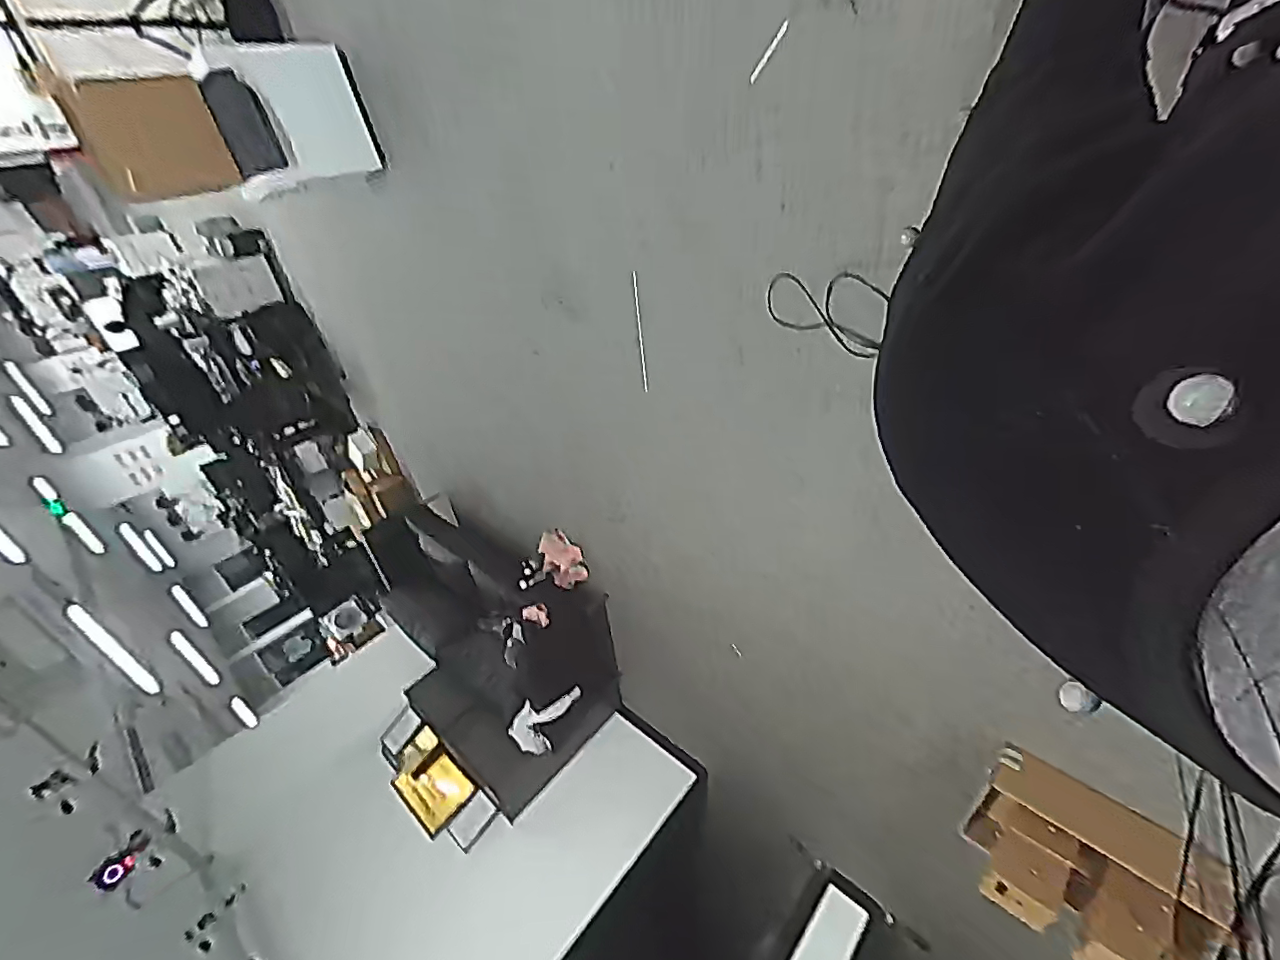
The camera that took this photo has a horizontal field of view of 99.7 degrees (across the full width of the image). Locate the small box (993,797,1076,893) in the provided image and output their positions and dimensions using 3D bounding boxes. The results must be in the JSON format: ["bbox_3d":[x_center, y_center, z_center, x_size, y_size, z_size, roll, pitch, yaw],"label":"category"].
[{"bbox_3d":[1.320,1.211,1.805,0.179,0.176,0.168,22,132,35],"label":"small box"}]

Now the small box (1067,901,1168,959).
[{"bbox_3d":[1.393,1.389,1.576,0.168,0.176,0.179,27,135,33],"label":"small box"}]
